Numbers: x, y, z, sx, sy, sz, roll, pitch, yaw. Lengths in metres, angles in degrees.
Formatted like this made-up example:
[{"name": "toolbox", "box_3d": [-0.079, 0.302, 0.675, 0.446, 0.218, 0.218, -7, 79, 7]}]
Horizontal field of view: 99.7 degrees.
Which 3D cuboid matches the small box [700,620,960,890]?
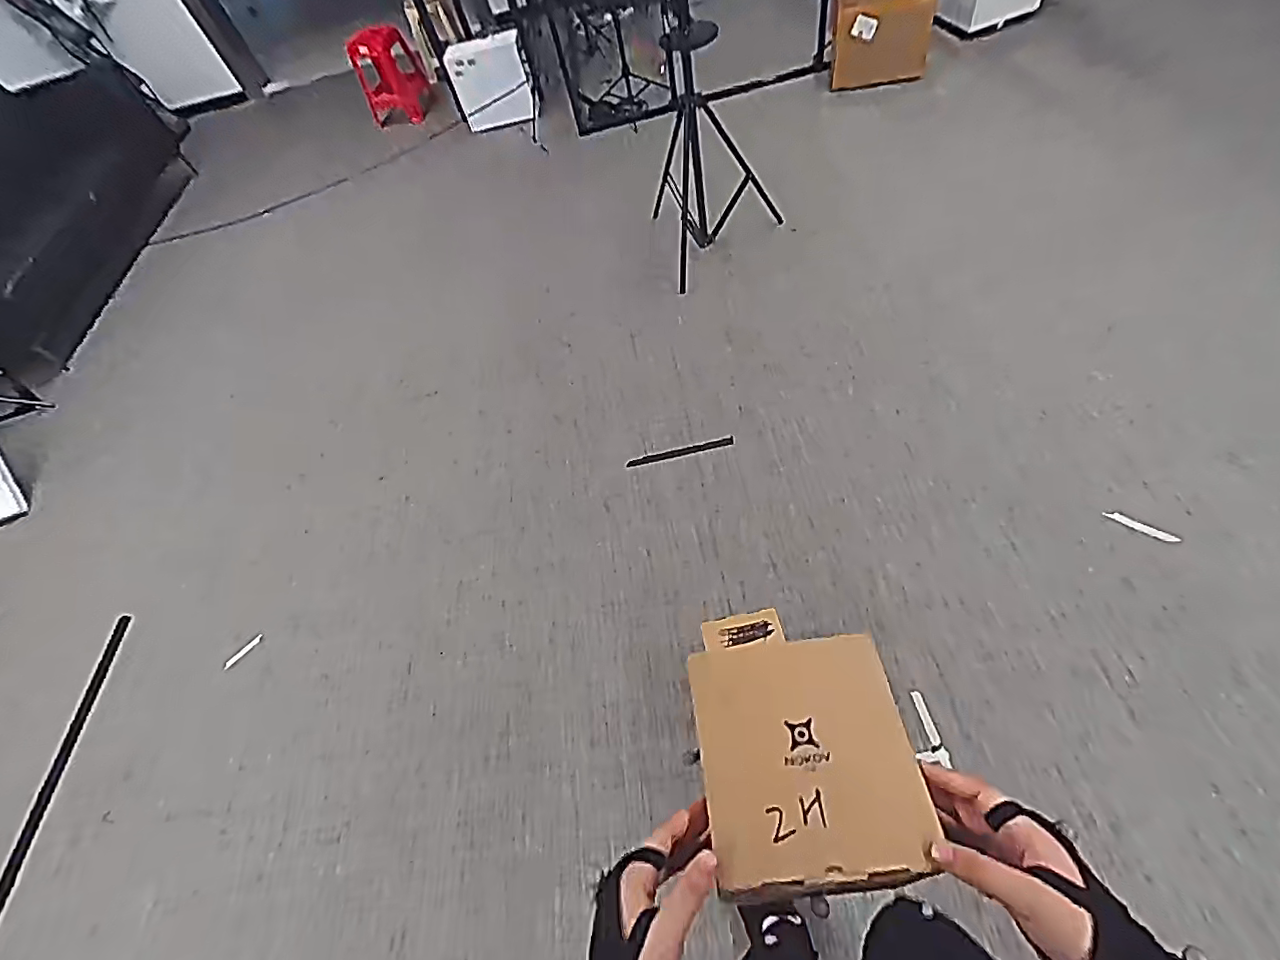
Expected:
[{"name": "small box", "box_3d": [0.146, 0.251, 0.491, 0.168, 0.176, 0.179, -7, 48, 3]}]
